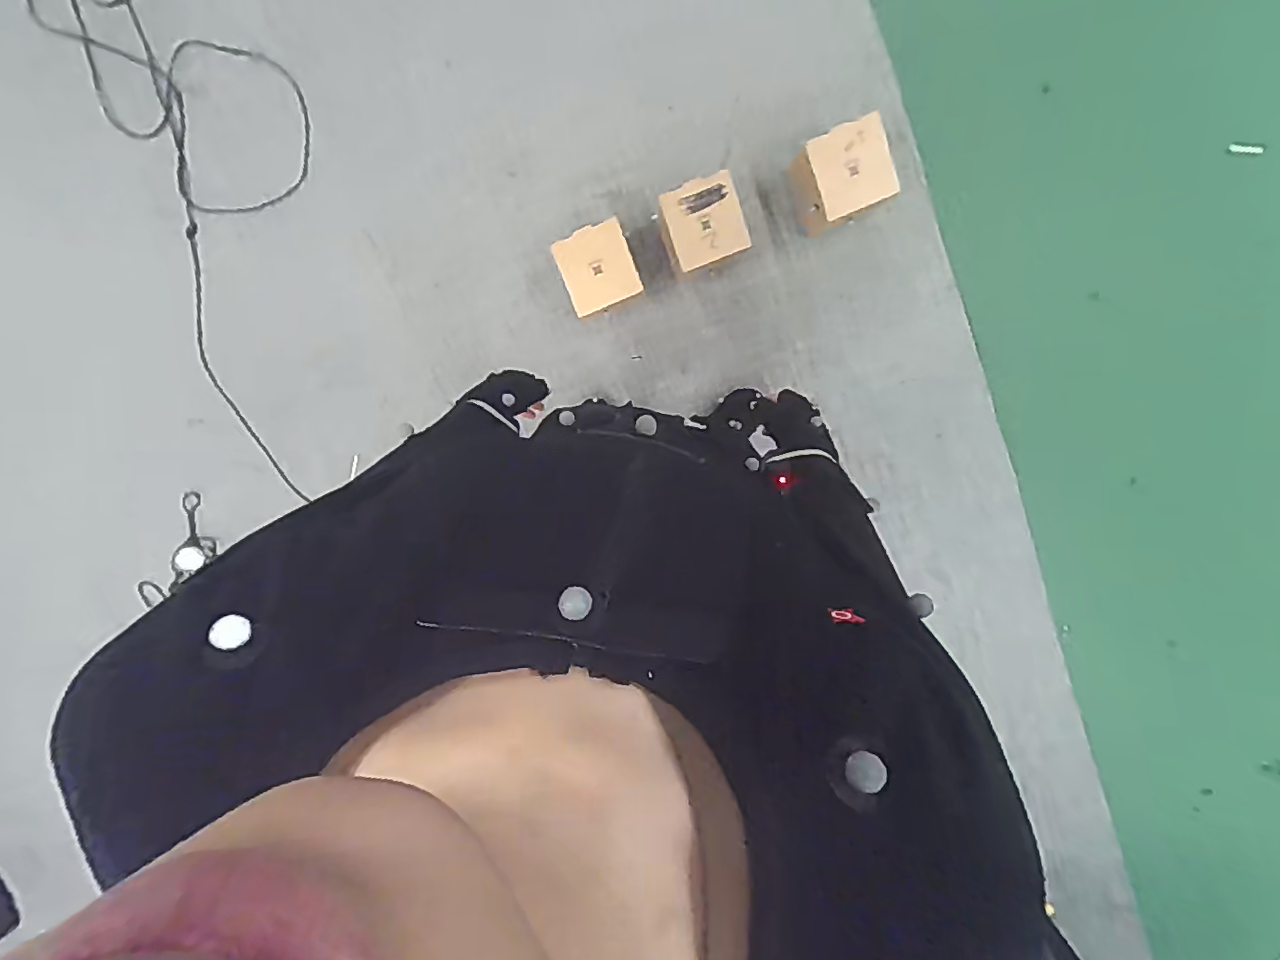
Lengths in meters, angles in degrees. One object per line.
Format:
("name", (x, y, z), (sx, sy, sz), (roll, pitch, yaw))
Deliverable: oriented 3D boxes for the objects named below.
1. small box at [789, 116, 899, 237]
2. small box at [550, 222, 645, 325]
("small box", (0.461, -0.680, 1.243), (0.168, 0.176, 0.179), (-21, 99, 6))
("small box", (-0.093, -0.486, 1.303), (0.168, 0.176, 0.179), (-21, 99, 7))
